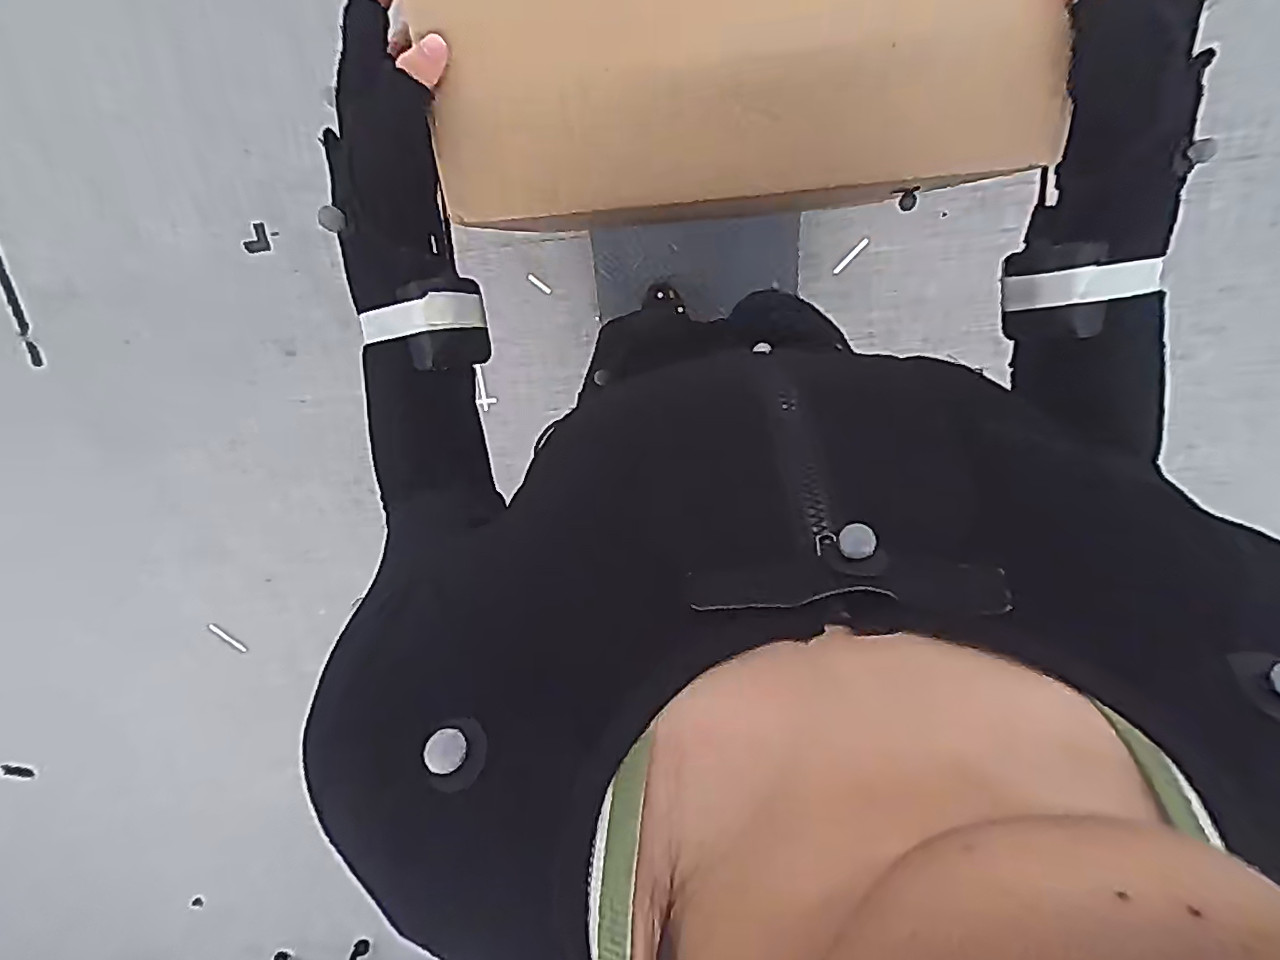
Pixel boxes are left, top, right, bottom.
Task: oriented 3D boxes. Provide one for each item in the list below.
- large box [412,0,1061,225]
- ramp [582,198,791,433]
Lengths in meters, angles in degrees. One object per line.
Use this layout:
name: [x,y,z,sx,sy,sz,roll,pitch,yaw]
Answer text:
large box: [0.058,-0.400,0.447,0.408,0.320,0.320,-4,113,3]
ramp: [0.111,-0.582,1.278,0.509,0.206,0.991,-6,110,3]
